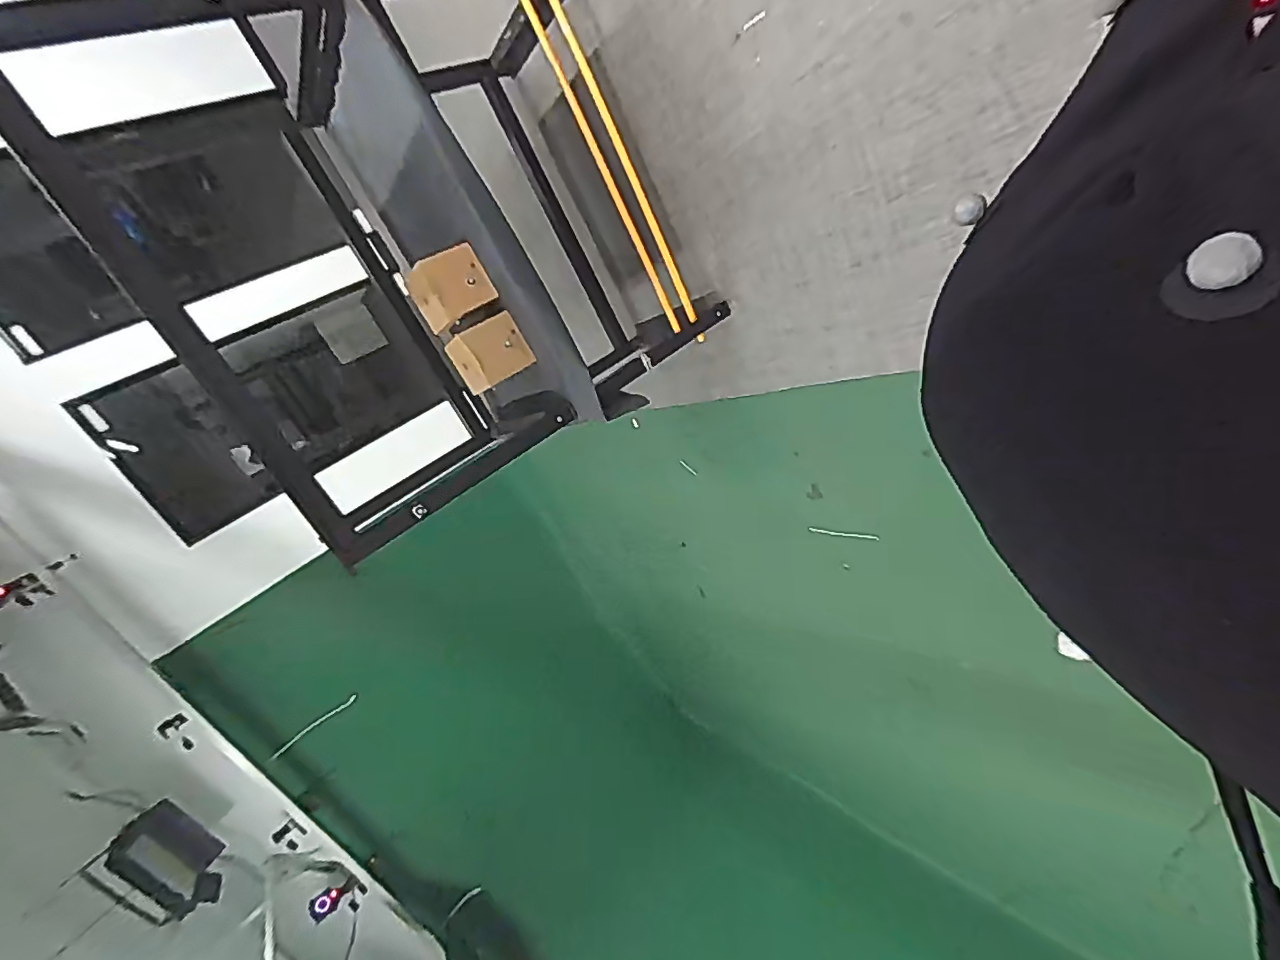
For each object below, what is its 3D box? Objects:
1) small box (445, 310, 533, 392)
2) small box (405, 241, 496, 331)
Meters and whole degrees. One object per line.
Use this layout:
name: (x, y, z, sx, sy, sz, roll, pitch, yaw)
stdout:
small box: (-0.446, -0.381, 1.606, 0.179, 0.176, 0.168, -2, 122, 57)
small box: (-0.540, -0.553, 1.550, 0.179, 0.176, 0.168, -2, 123, 57)
